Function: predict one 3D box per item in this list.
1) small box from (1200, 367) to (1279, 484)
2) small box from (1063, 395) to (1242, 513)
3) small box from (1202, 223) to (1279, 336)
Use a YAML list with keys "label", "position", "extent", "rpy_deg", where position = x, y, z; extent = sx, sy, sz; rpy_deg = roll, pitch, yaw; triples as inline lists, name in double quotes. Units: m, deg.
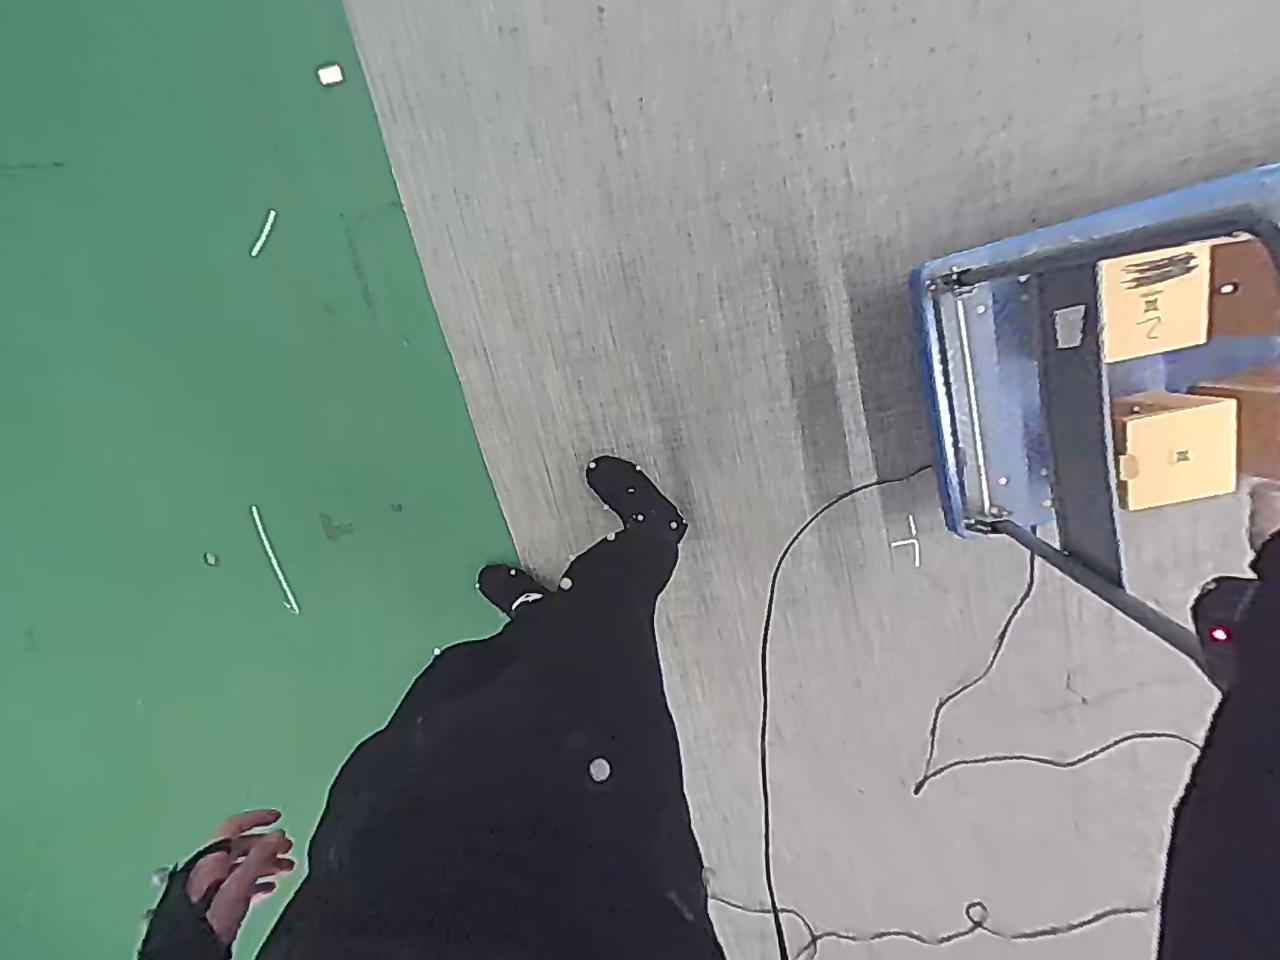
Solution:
- label: "small box"
  position: [1.169, -0.105, 0.961]
  extent: [0.179, 0.176, 0.168]
  rpy_deg: [-15, 102, 8]
- label: "small box"
  position: [0.928, -0.055, 0.993]
  extent: [0.179, 0.176, 0.168]
  rpy_deg: [-12, 103, 7]
- label: "small box"
  position: [1.102, -0.345, 0.905]
  extent: [0.179, 0.176, 0.168]
  rpy_deg: [-17, 103, 8]
